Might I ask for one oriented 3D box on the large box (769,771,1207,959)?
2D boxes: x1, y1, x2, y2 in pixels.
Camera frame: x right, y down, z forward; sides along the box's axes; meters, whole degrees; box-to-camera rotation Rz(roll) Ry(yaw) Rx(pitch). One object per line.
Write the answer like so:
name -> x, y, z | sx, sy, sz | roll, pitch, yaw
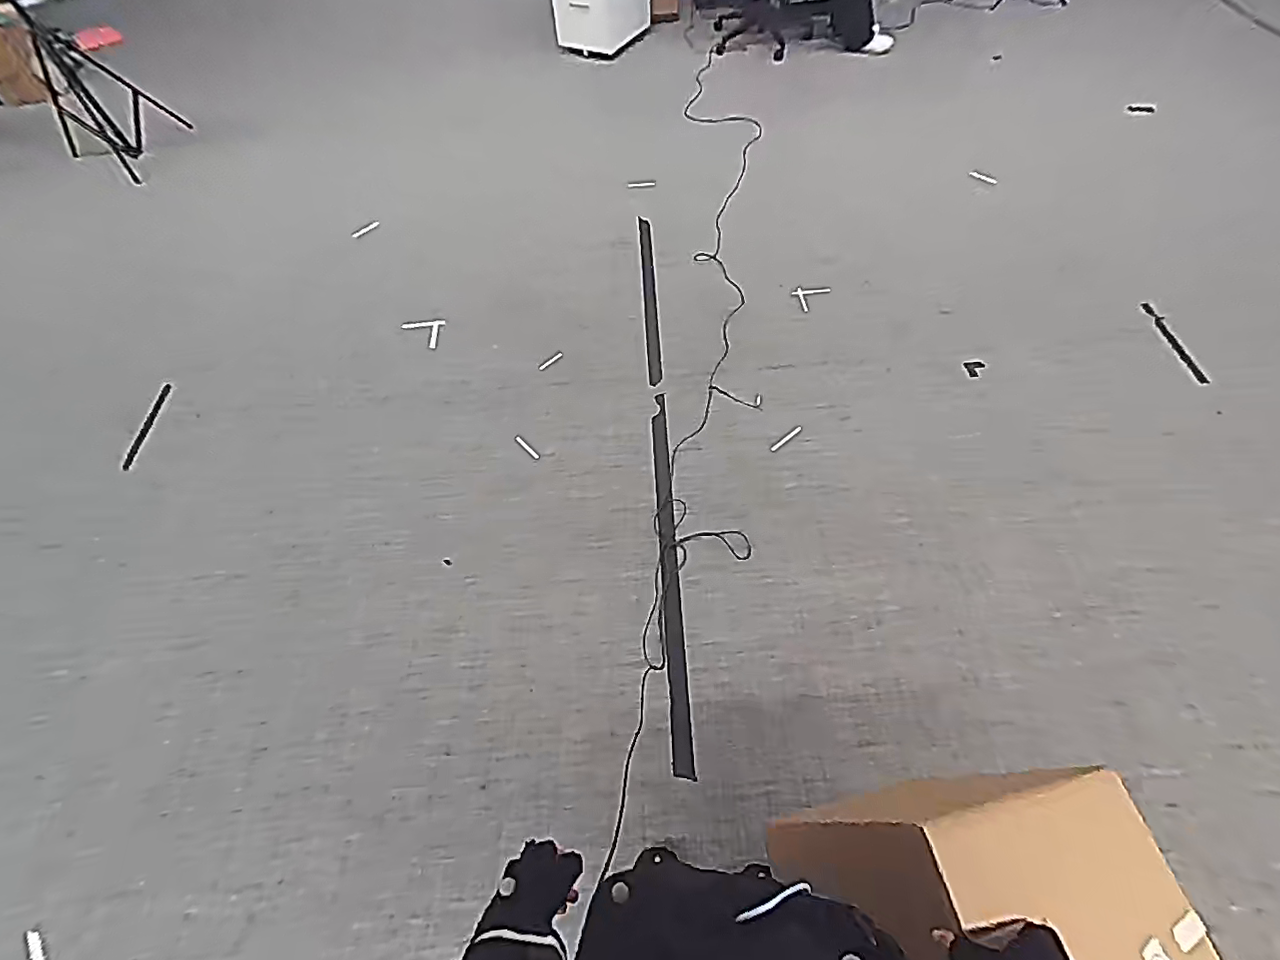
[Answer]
large box -> 0.436, 0.611, 0.730 | 0.320, 0.408, 0.320 | -3, 59, -16
